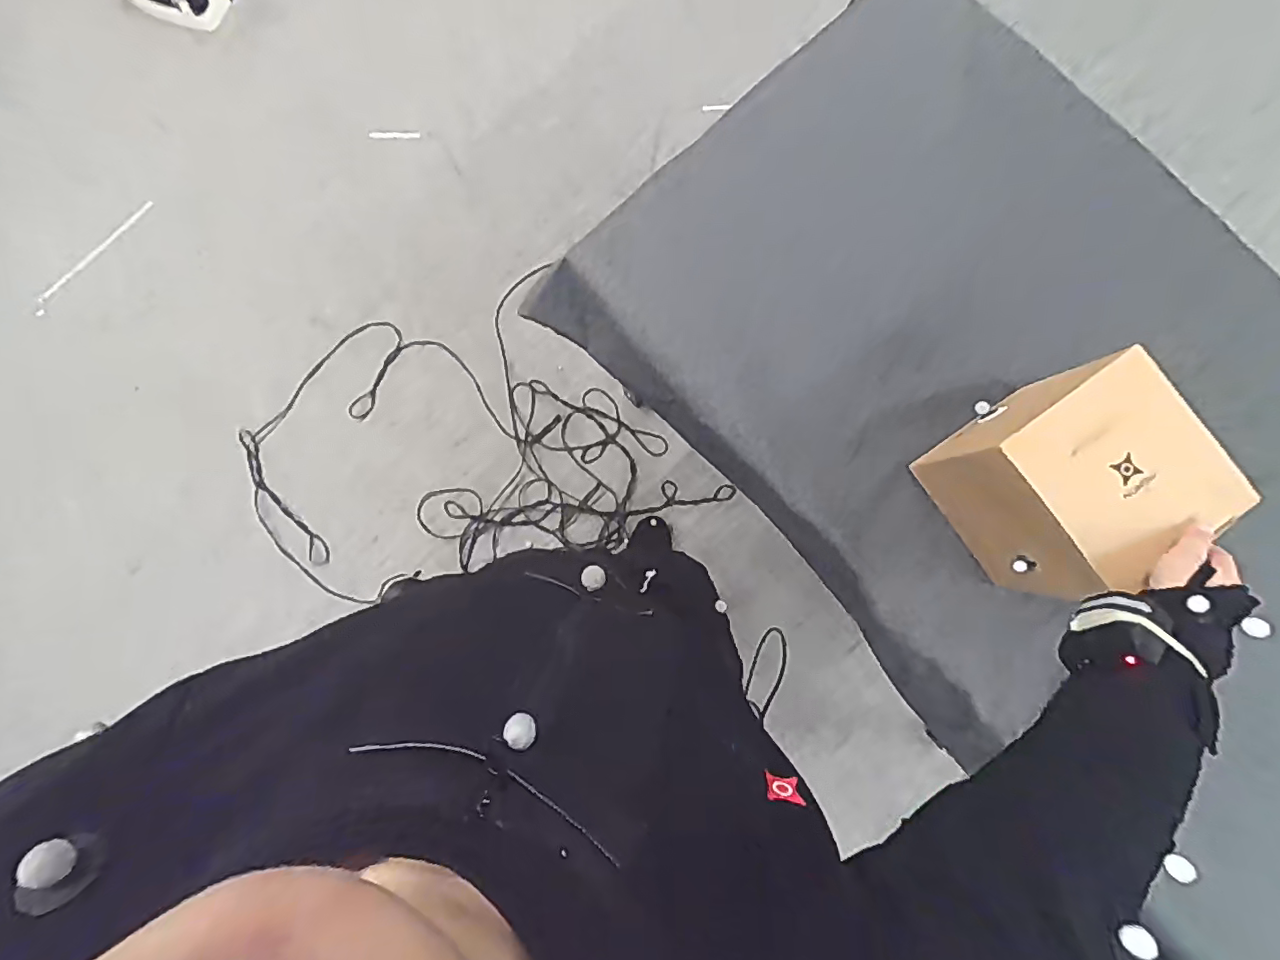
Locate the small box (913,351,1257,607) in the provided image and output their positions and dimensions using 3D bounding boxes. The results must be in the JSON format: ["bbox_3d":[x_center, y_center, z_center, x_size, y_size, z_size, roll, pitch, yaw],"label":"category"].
[{"bbox_3d":[0.431,0.004,0.559,0.168,0.176,0.179,-35,85,-4],"label":"small box"}]
